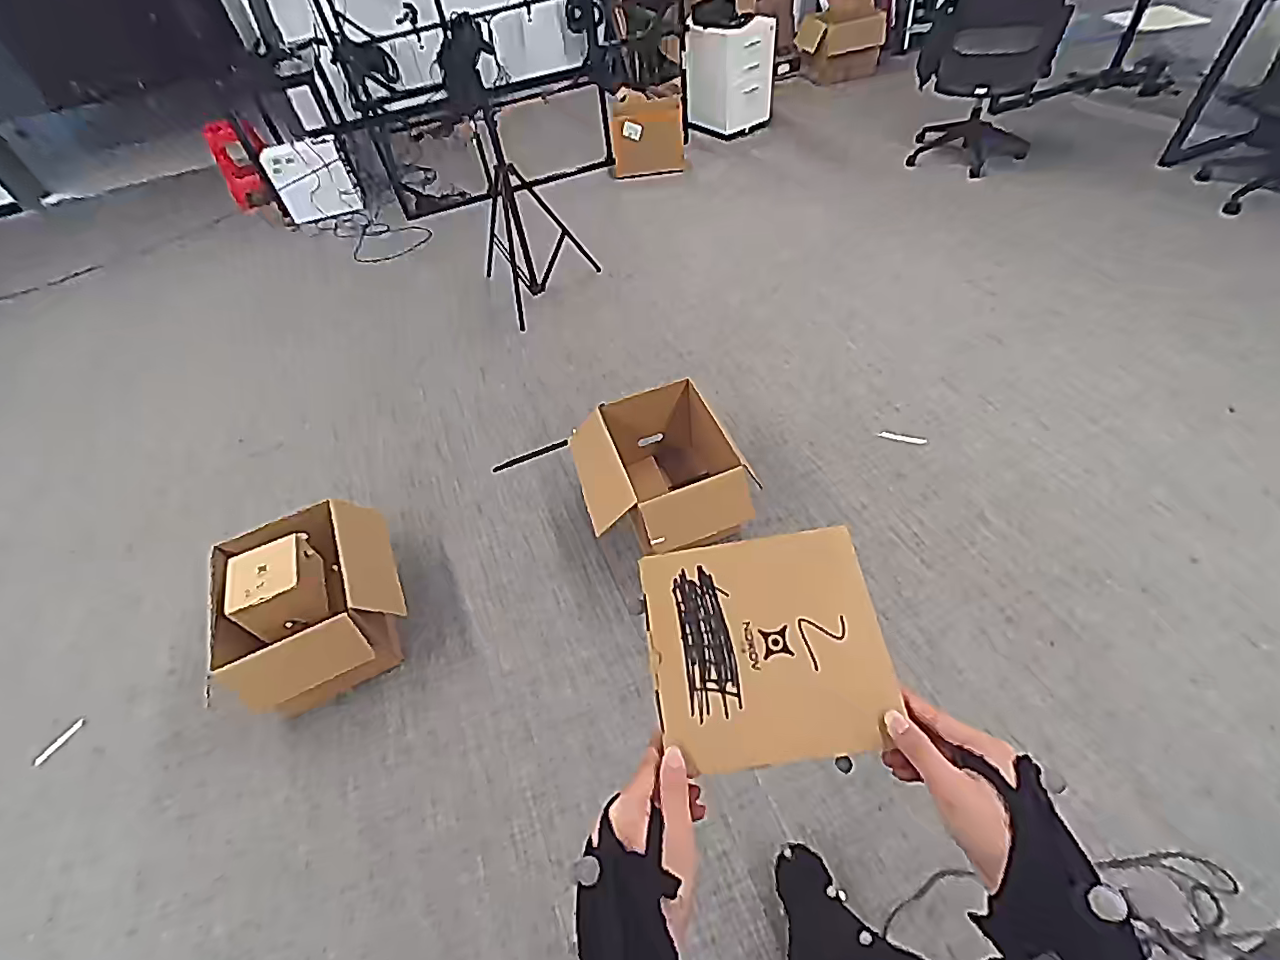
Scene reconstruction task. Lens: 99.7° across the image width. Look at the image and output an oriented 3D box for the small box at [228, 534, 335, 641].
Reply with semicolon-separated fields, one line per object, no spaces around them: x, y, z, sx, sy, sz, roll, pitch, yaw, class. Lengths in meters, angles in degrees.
-0.906;0.276;1.379;0.168;0.176;0.179;-23;51;-11;small box
